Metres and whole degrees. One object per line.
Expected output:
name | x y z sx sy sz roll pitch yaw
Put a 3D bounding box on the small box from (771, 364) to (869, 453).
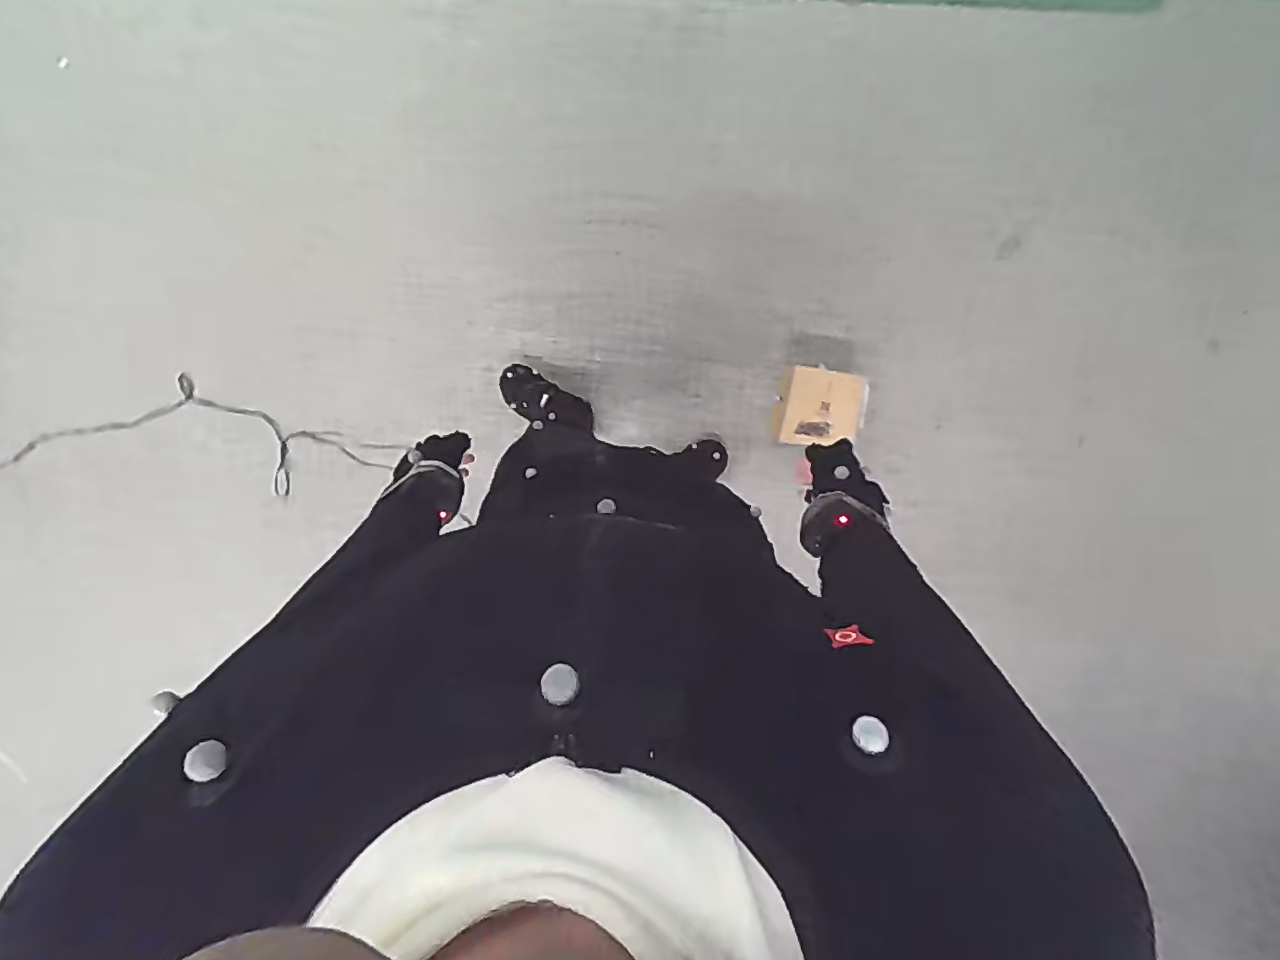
small box | 0.418 -0.173 1.289 0.168 0.176 0.179 11 100 1
